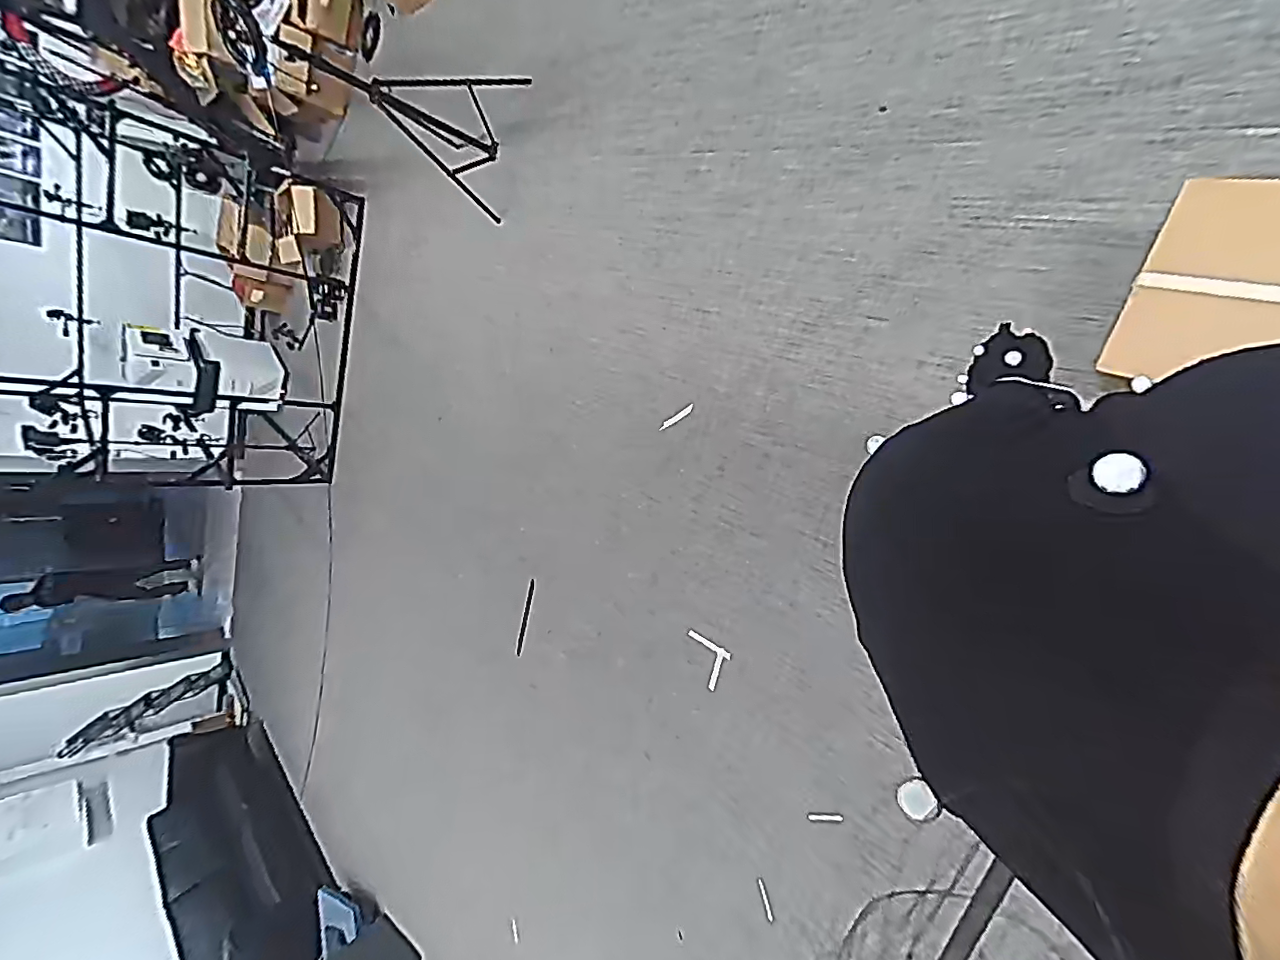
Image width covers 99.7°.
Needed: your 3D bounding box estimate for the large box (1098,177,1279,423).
[{"bbox_3d":[1.064,-0.272,0.892,0.408,0.320,0.320,27,109,37],"label":"large box"}]
